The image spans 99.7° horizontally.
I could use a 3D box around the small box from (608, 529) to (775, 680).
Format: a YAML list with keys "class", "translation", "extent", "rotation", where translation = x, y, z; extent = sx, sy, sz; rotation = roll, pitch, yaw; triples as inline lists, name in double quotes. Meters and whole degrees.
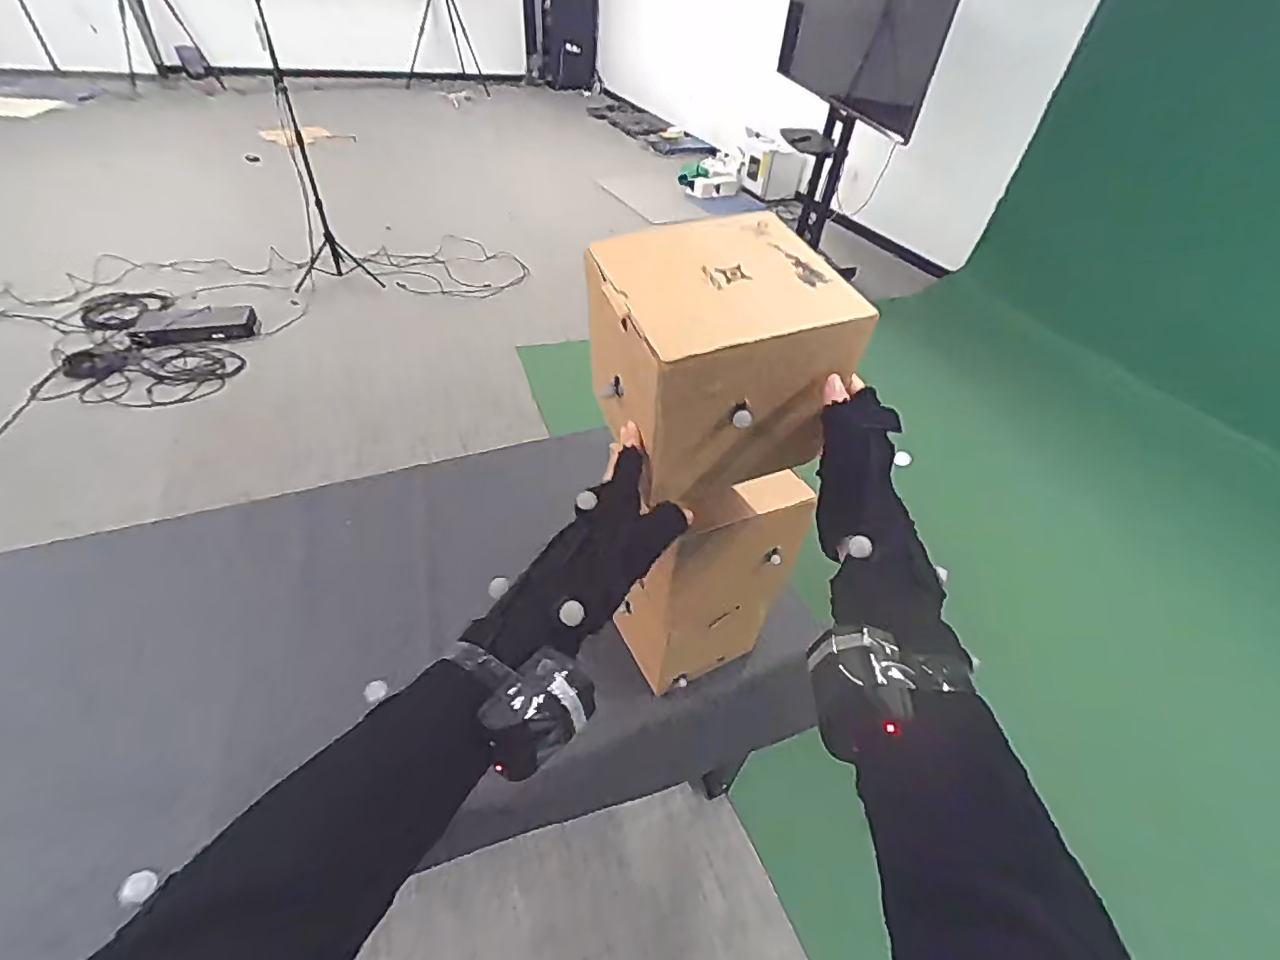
- class: "small box"
  translation: [0.063, 0.162, 0.780]
  extent: [0.168, 0.176, 0.179]
  rotation: [-17, 47, -23]

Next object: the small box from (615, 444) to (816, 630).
- class: "small box"
  translation: [0.078, 0.051, 0.664]
  extent: [0.179, 0.176, 0.168]
  rotation: [-17, 46, -20]

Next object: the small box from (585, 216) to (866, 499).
- class: "small box"
  translation: [0.061, -0.106, 0.487]
  extent: [0.179, 0.176, 0.168]
  rotation: [-15, 54, -12]
